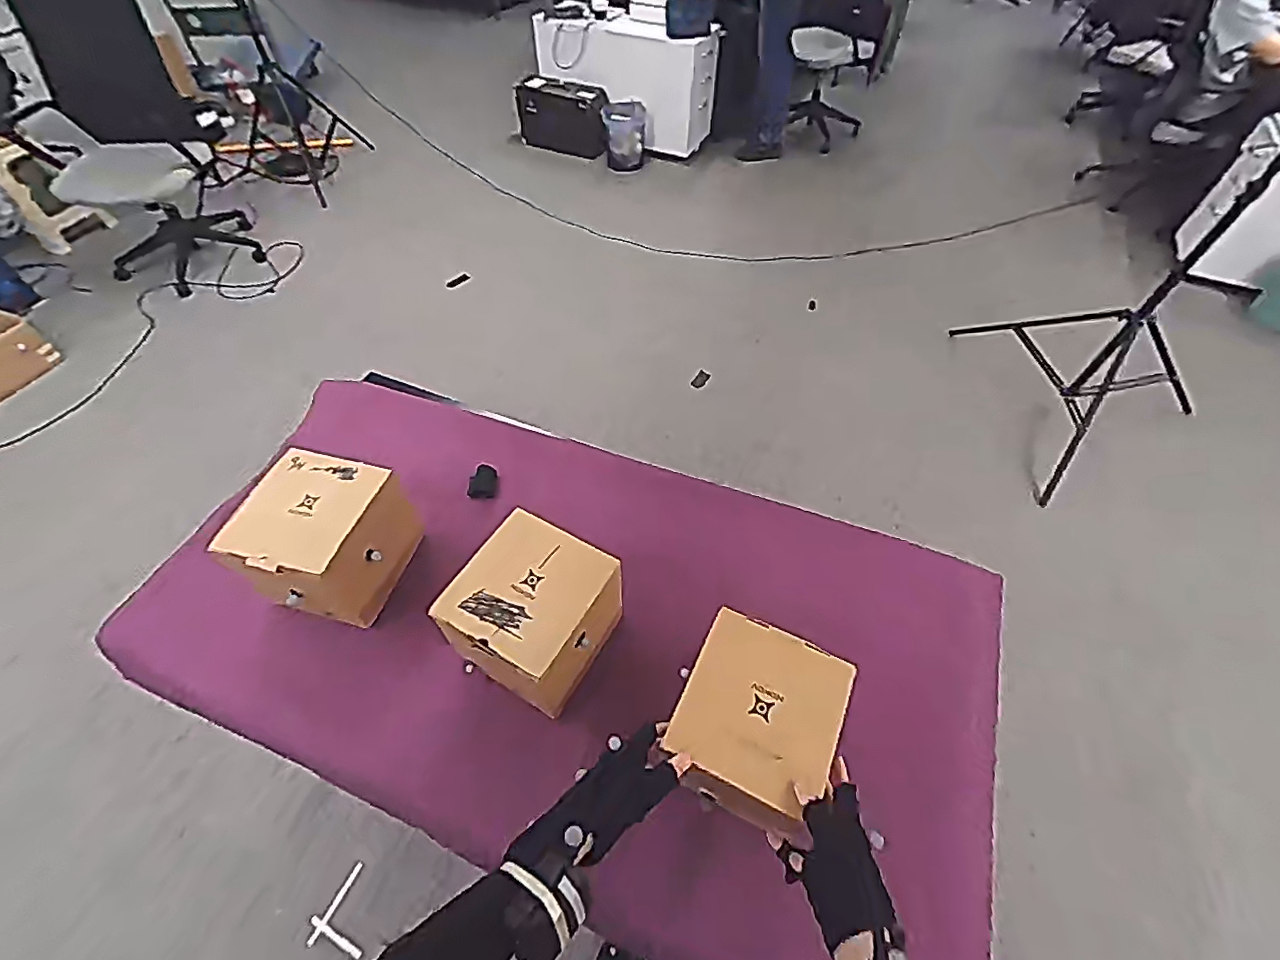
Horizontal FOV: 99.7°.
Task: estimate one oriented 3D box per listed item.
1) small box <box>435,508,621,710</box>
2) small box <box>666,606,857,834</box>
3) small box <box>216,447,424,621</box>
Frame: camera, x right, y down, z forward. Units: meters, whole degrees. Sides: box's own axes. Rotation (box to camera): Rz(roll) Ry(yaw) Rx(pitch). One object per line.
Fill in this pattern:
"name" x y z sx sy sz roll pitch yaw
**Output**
"small box" -0.134 0.176 0.726 0.168 0.176 0.179 26 56 17
"small box" 0.135 0.289 0.647 0.168 0.176 0.179 21 56 16
"small box" -0.444 0.084 0.790 0.168 0.176 0.179 13 54 8
